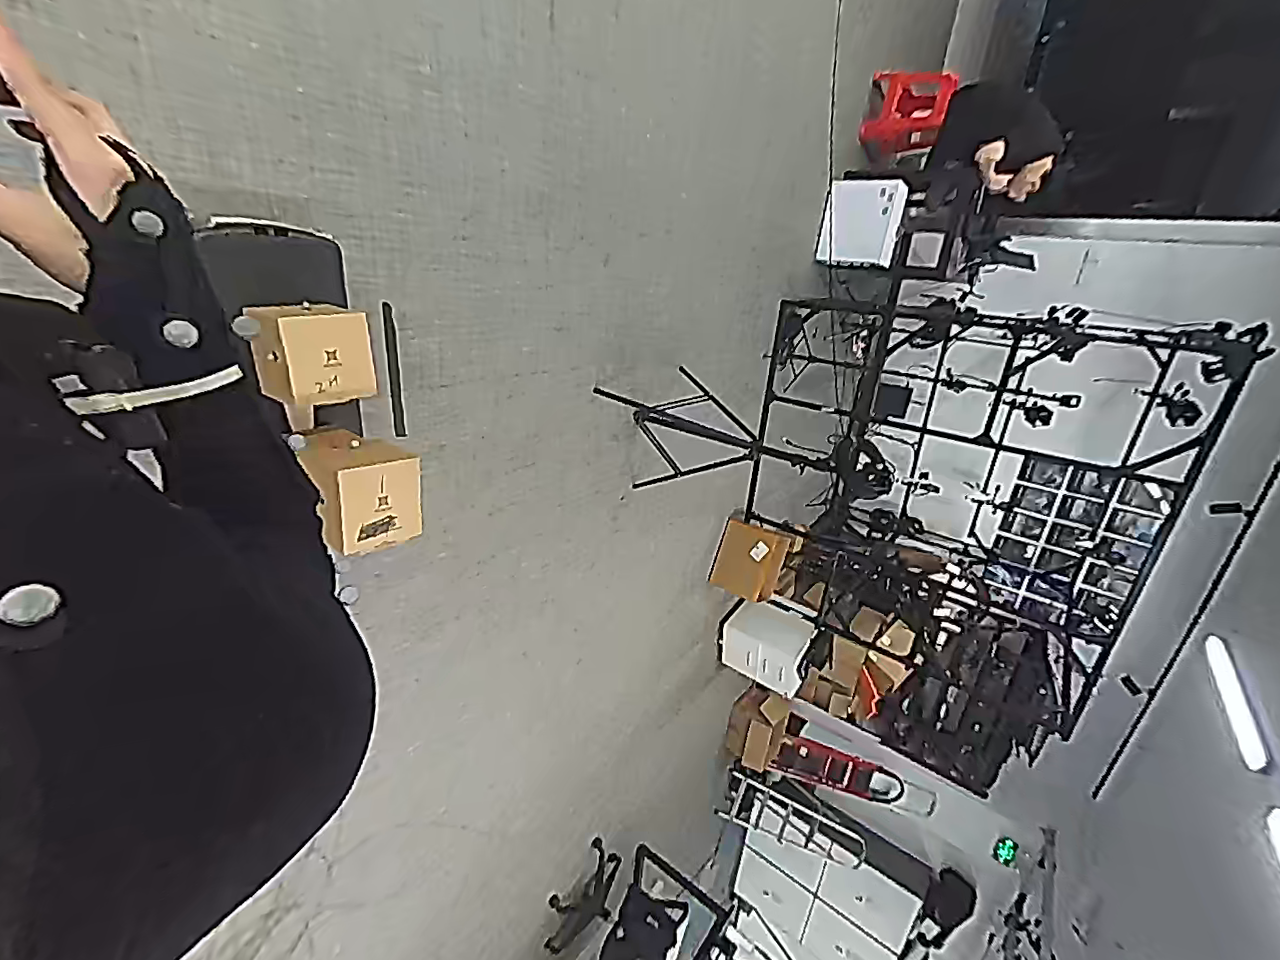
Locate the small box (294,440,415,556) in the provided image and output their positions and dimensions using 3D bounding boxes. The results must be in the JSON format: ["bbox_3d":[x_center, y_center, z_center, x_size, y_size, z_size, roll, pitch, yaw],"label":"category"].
[{"bbox_3d":[-0.584,0.029,1.112,0.168,0.176,0.179,-17,119,-51],"label":"small box"}]

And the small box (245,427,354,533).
[{"bbox_3d":[-0.724,-0.009,1.190,0.179,0.176,0.168,-24,126,-48],"label":"small box"}]
